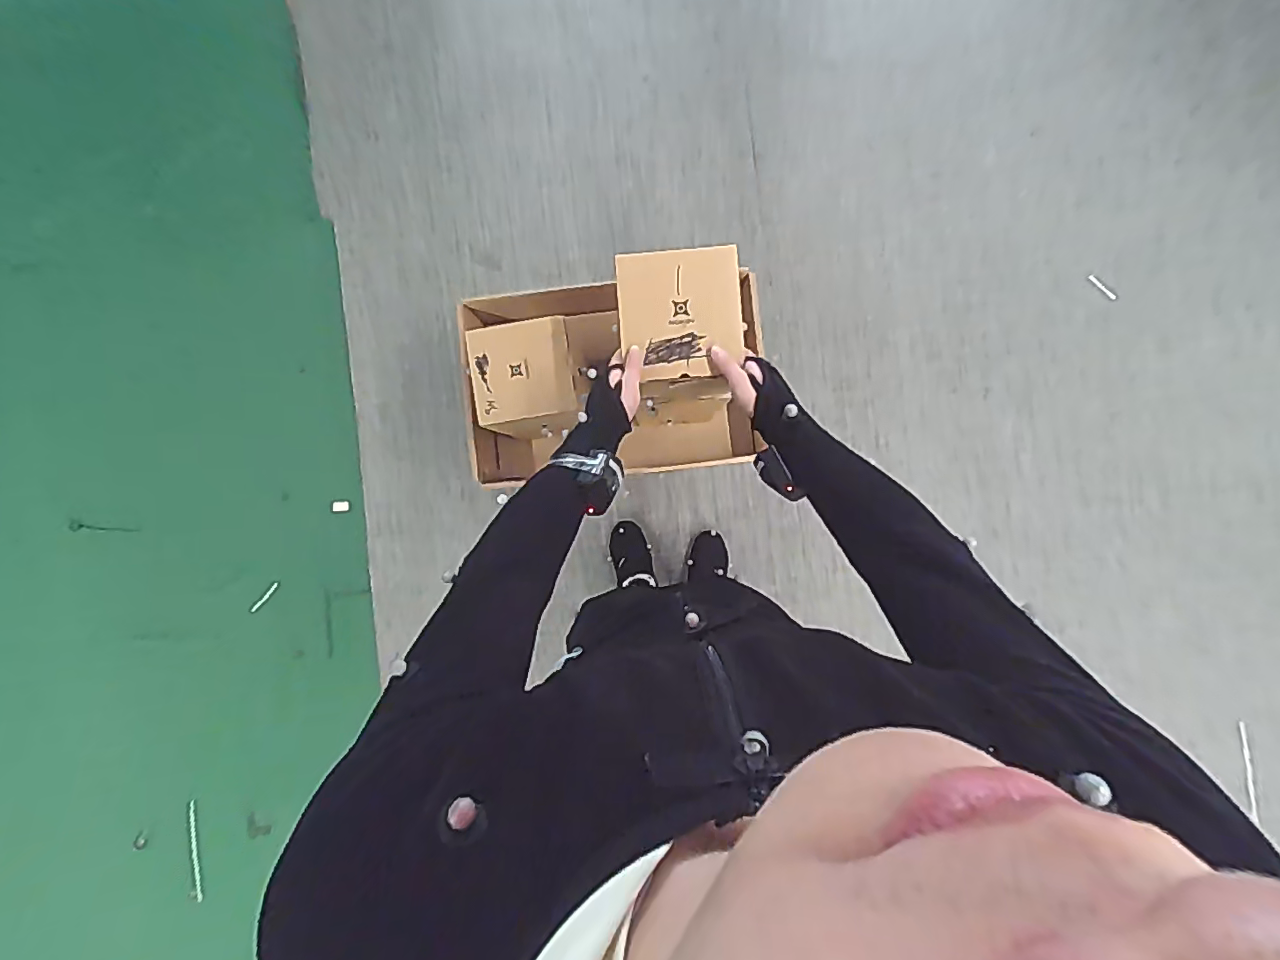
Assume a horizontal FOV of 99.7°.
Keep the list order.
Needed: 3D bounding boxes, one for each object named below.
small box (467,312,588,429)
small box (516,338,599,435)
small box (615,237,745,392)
[{"bbox_3d":[-0.194,-0.192,0.988,0.179,0.176,0.168,-9,89,1],"label":"small box"},{"bbox_3d":[-0.188,-0.191,1.152,0.179,0.176,0.168,-7,89,1],"label":"small box"},{"bbox_3d":[0.056,-0.227,0.791,0.168,0.176,0.179,-4,89,1],"label":"small box"}]
